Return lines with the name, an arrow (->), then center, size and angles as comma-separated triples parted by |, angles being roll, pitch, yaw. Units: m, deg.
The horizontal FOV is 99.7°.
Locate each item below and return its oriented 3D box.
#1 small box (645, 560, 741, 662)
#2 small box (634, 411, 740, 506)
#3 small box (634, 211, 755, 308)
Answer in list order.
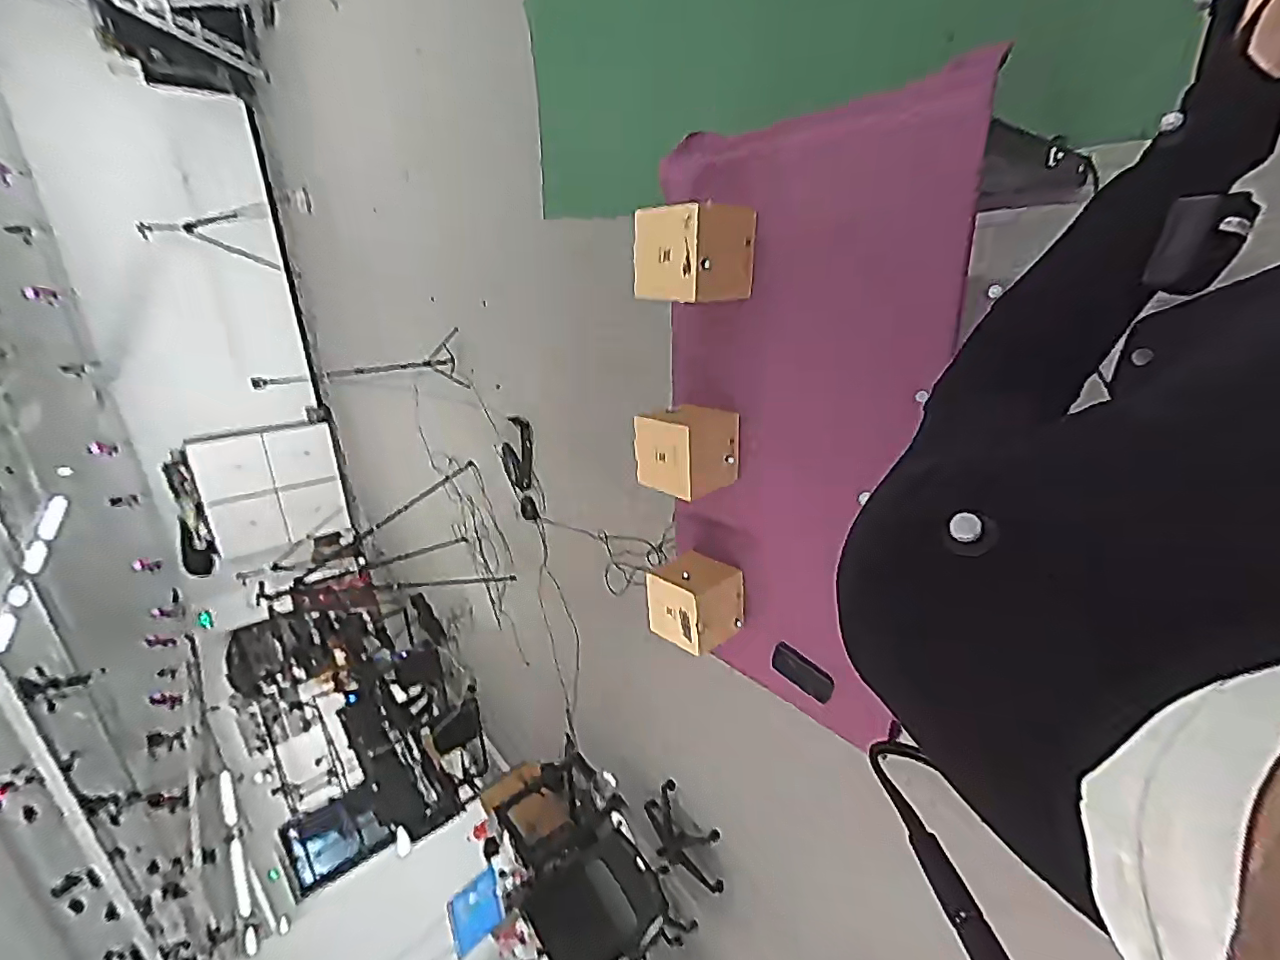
small box -> 0.136, 0.315, 1.344 | 0.179, 0.176, 0.168 | 15, 115, 49
small box -> 0.106, -0.058, 1.240 | 0.179, 0.176, 0.168 | 19, 119, 46
small box -> 0.106, -0.440, 1.088 | 0.179, 0.176, 0.168 | 23, 122, 46
